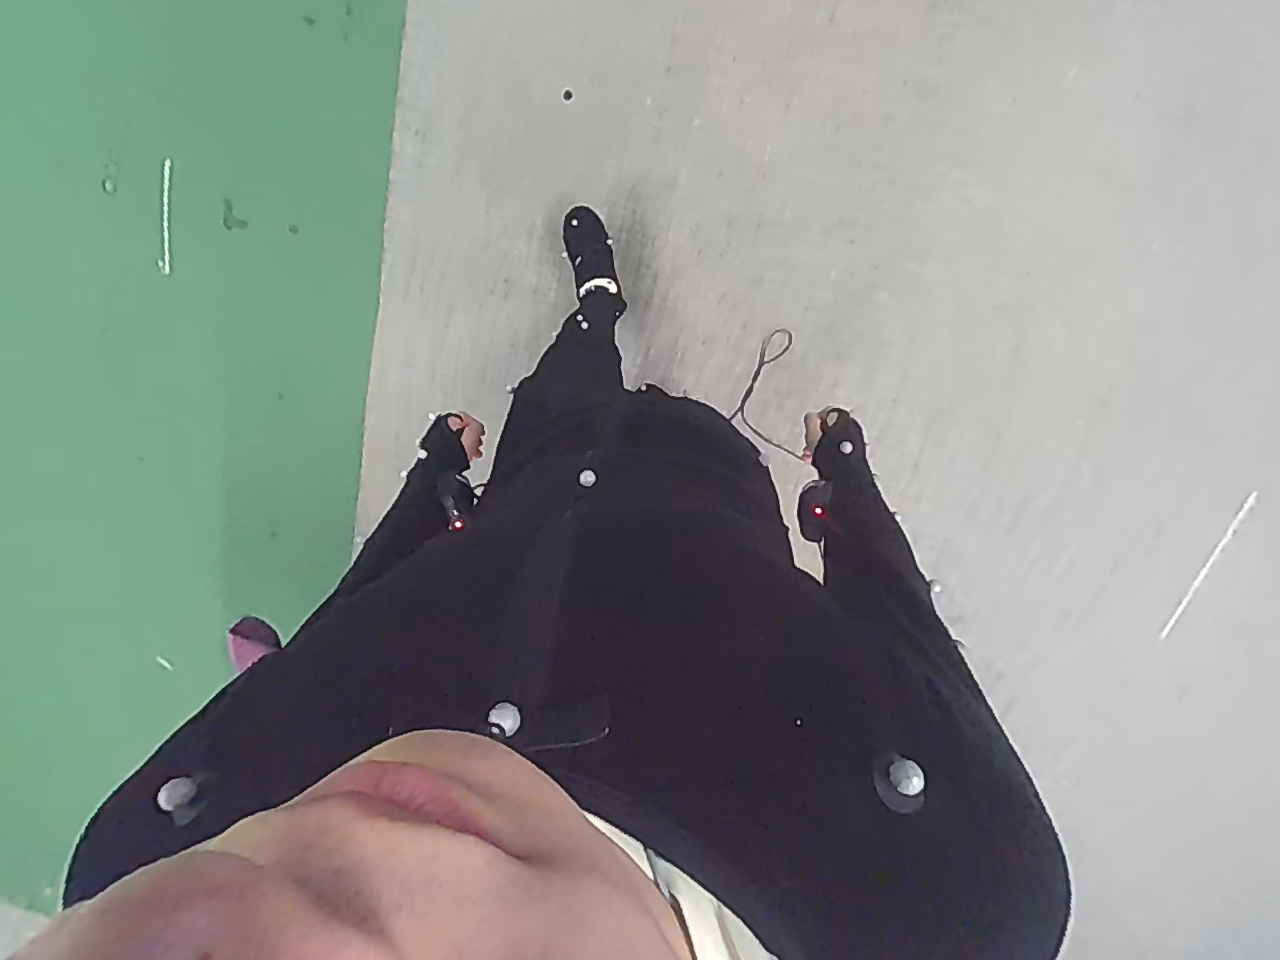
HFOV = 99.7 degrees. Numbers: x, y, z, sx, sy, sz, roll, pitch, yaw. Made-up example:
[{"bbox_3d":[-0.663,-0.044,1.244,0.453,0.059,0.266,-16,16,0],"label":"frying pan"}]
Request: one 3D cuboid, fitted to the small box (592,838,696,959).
[{"bbox_3d":[0.012,0.852,1.053,0.168,0.176,0.179,15,108,2],"label":"small box"}]
